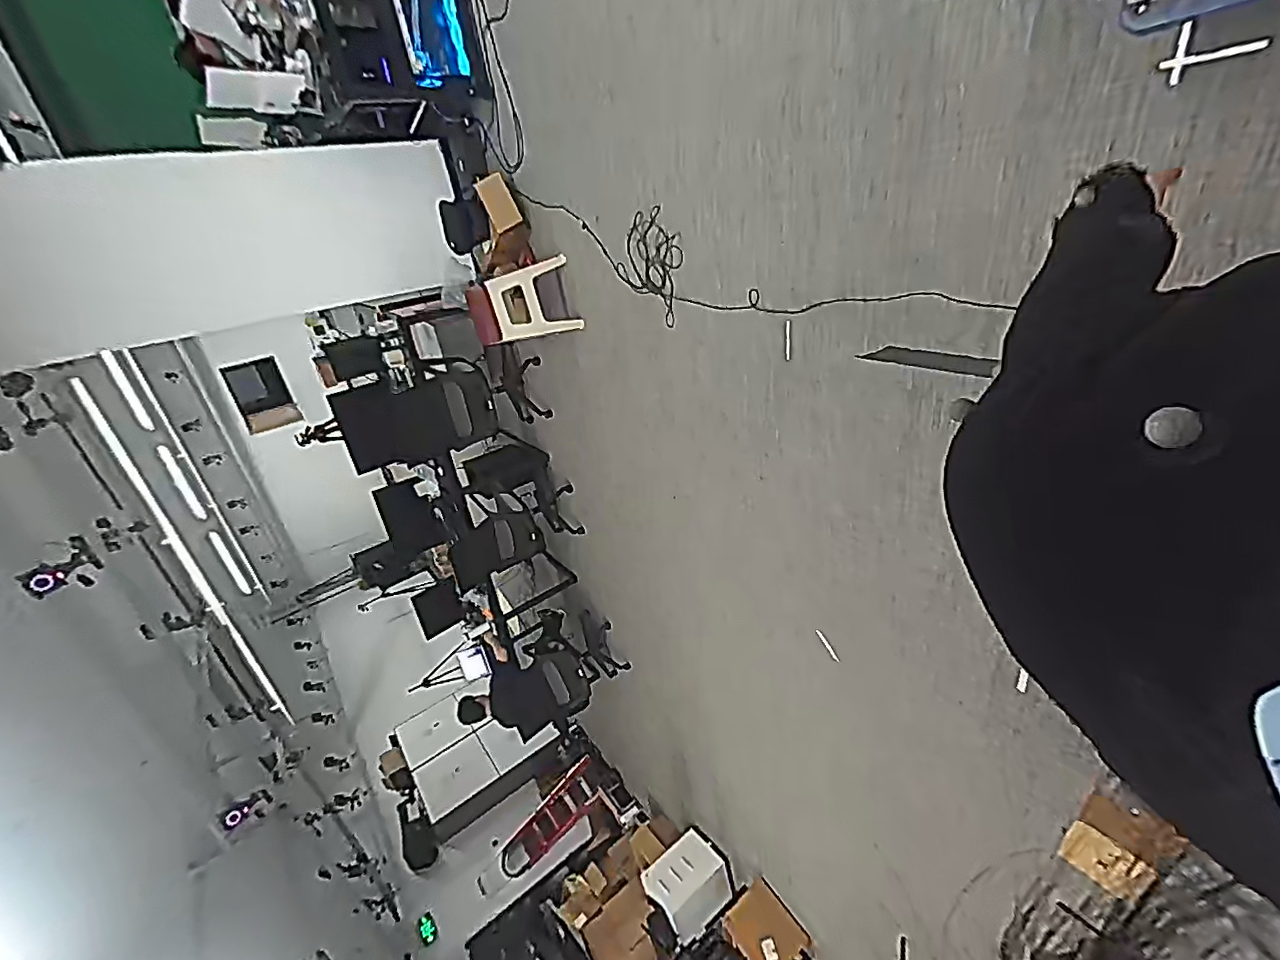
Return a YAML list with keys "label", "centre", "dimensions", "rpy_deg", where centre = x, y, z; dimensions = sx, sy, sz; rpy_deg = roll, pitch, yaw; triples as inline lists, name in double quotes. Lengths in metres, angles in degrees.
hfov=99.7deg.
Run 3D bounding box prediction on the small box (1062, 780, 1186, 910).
- label: "small box"
  centre: [1.205, 0.902, 1.347]
  dimensions: [0.168, 0.176, 0.179]
  rpy_deg: [30, 136, 44]
